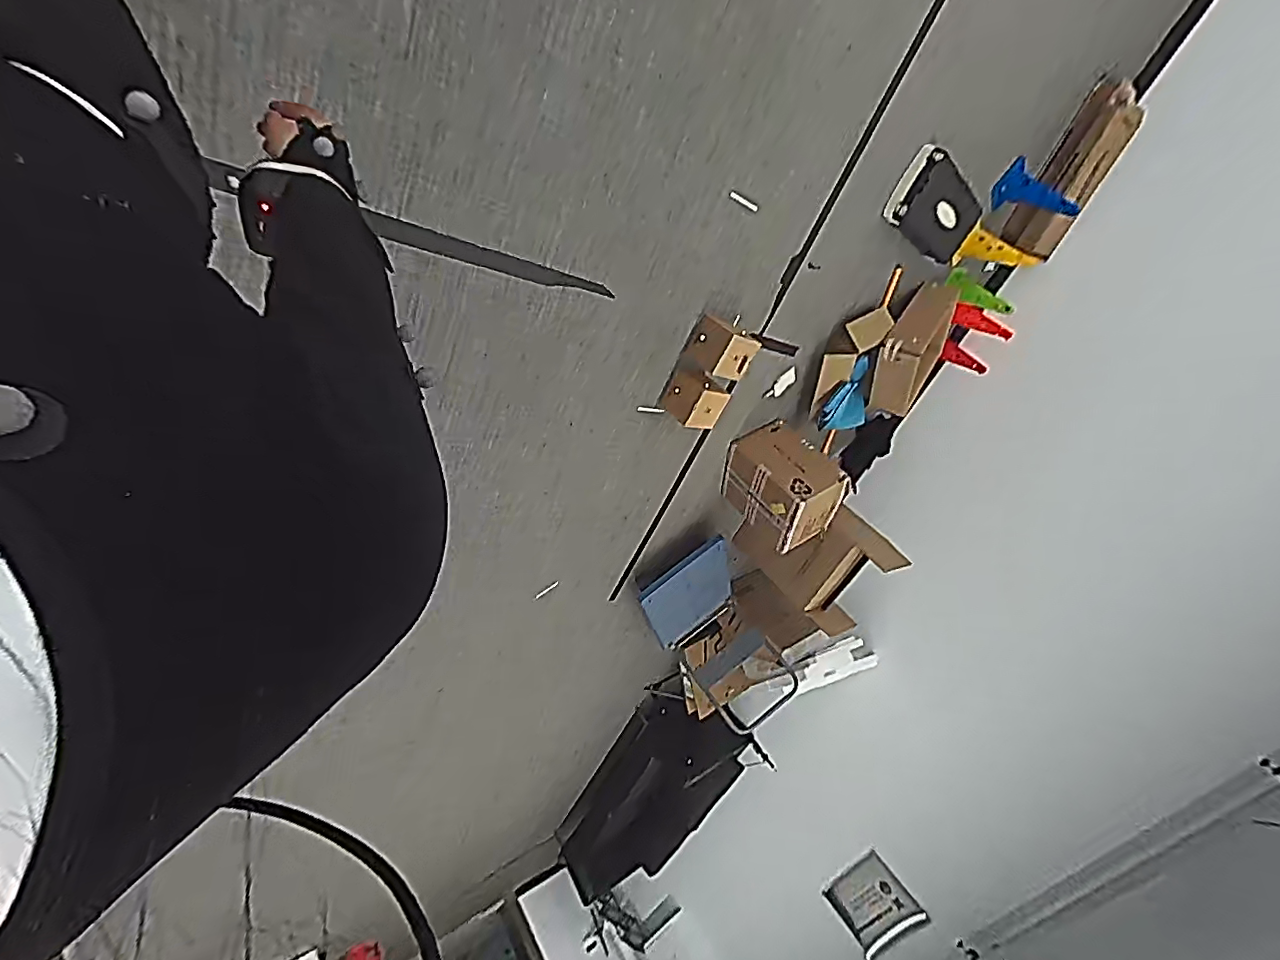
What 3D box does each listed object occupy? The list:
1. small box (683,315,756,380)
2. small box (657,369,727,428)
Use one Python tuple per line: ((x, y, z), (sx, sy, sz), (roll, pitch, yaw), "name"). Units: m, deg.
((0.297, -0.501, 2.043), (0.179, 0.176, 0.168), (1, 127, -46), "small box")
((0.204, -0.323, 2.150), (0.179, 0.176, 0.168), (-1, 129, -45), "small box")
